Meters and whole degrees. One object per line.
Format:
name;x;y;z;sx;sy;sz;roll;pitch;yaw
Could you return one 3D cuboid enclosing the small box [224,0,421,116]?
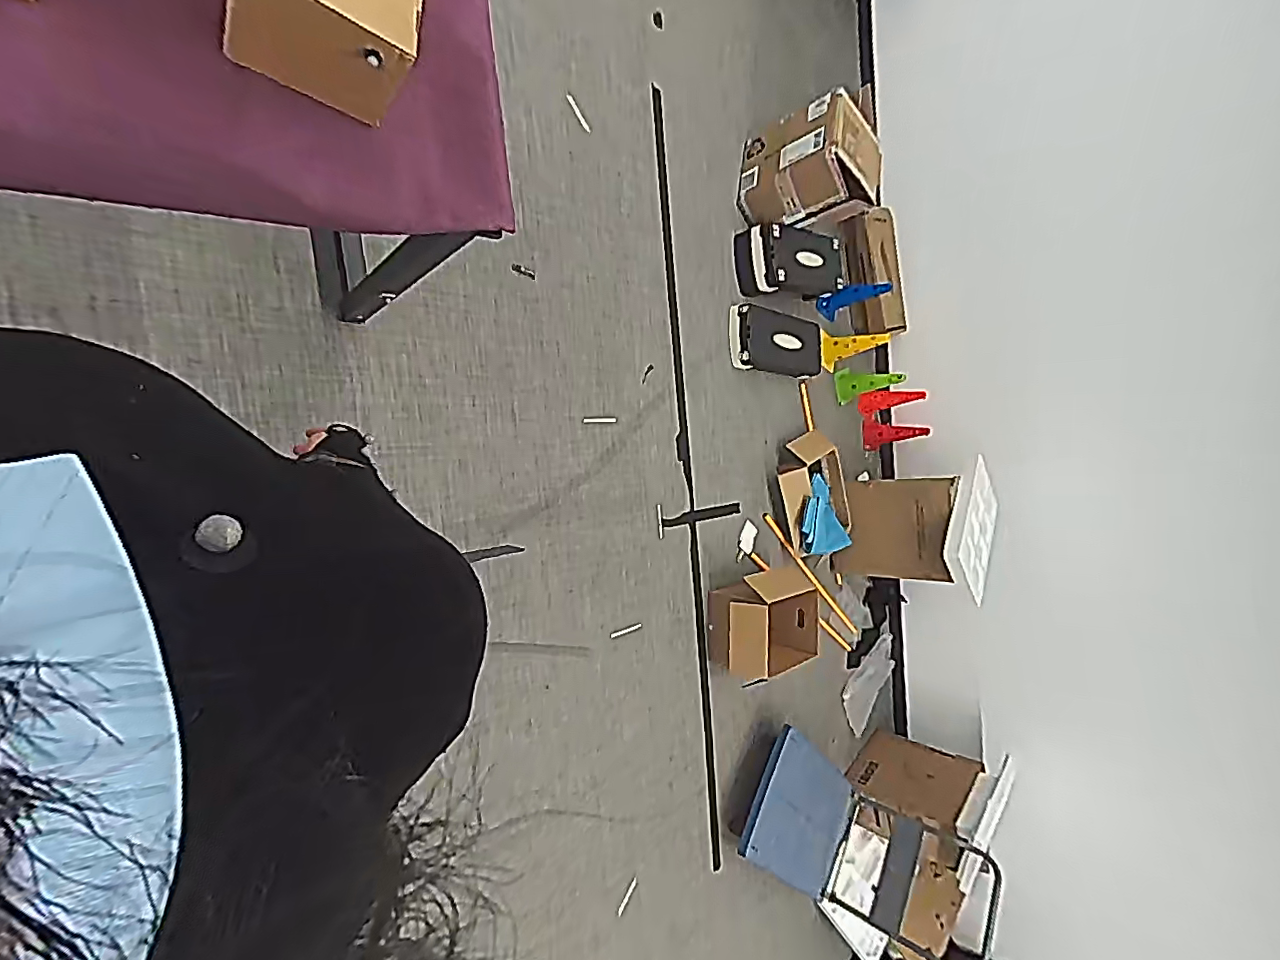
small box;-0.378;-0.585;0.646;0.179;0.176;0.168;5;86;-43
